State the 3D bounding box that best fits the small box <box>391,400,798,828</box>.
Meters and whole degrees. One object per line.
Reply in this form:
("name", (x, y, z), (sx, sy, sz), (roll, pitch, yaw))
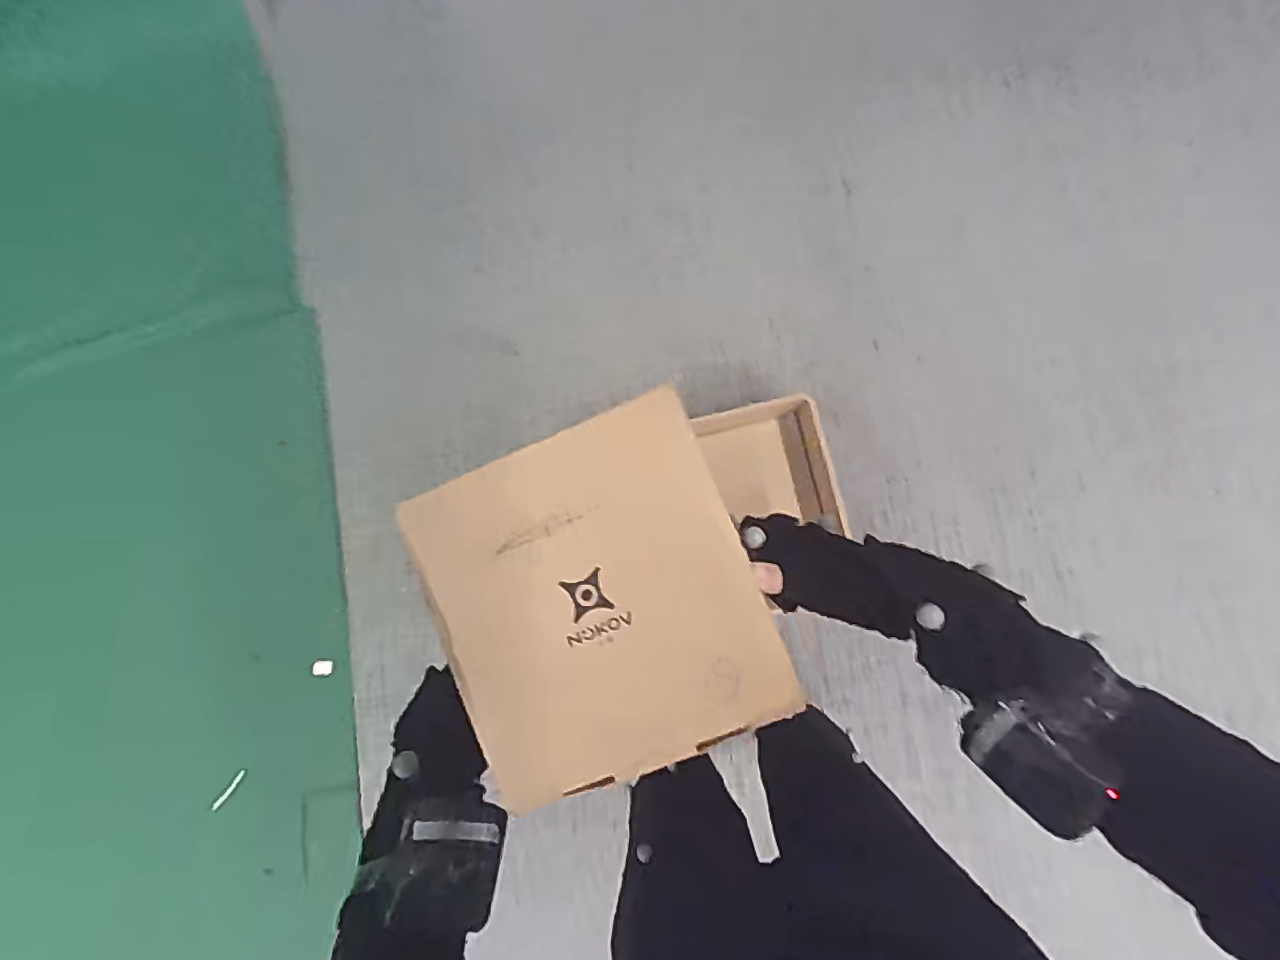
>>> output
("small box", (-0.018, 0.071, 0.353), (0.168, 0.176, 0.179), (-23, 84, 4))
